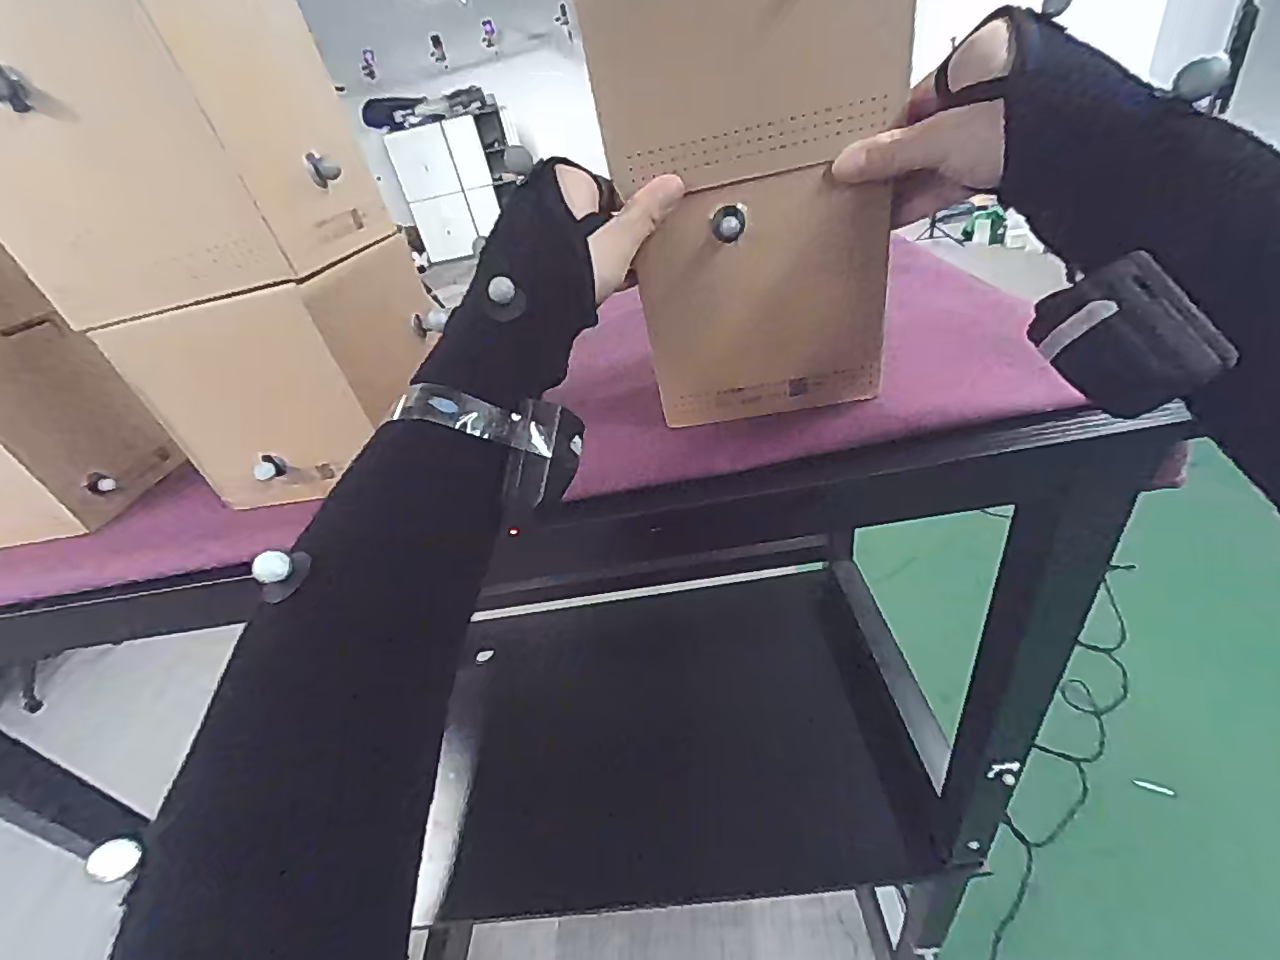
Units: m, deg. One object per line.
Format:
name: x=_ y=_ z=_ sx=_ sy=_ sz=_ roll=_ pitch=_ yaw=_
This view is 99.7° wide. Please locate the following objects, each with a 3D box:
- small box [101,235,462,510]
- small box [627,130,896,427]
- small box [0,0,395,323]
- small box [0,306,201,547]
small box: x=-0.280 y=-0.097 z=0.478 sx=0.168 sy=0.176 sz=0.179 roll=-9 pitch=35 yaw=9
small box: x=0.093 y=-0.164 z=0.442 sx=0.168 sy=0.176 sz=0.179 roll=-8 pitch=36 yaw=10
small box: x=-0.317 y=-0.226 z=0.384 sx=0.179 sy=0.176 sz=0.168 roll=-10 pitch=34 yaw=9
small box: x=-0.582 y=-0.050 z=0.515 sx=0.179 sy=0.176 sz=0.168 roll=-10 pitch=34 yaw=7
